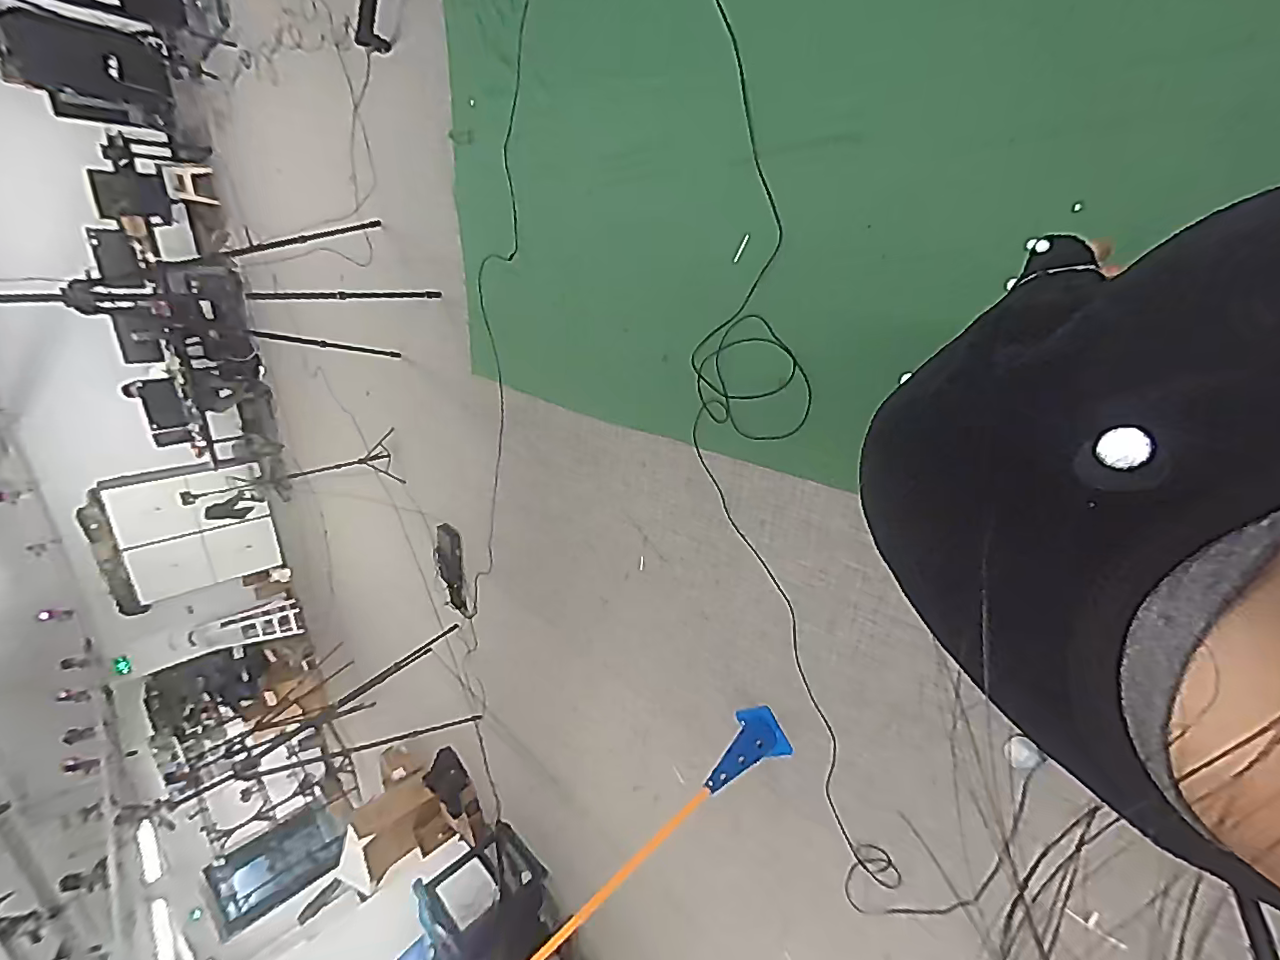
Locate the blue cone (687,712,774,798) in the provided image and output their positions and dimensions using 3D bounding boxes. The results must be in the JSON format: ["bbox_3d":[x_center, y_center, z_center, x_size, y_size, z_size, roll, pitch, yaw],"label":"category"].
[{"bbox_3d":[0.313,1.056,2.015,0.193,0.380,0.192,-42,75,47],"label":"blue cone"}]
